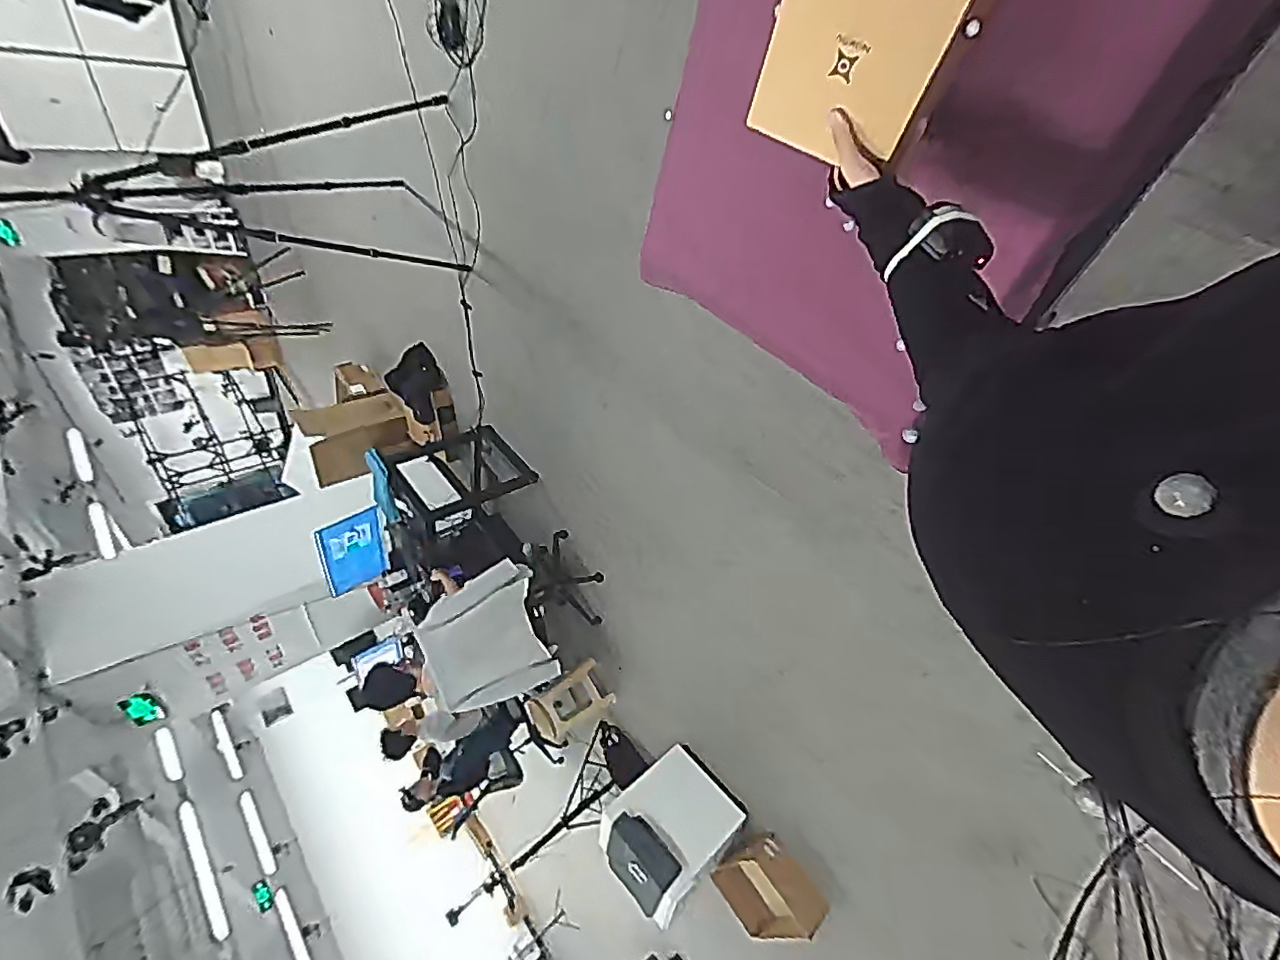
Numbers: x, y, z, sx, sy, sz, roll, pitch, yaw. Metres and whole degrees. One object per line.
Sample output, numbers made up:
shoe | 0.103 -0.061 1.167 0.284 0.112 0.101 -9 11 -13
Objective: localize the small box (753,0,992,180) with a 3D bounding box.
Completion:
small box | 0.251 -0.467 0.577 0.168 0.176 0.179 32 146 12
